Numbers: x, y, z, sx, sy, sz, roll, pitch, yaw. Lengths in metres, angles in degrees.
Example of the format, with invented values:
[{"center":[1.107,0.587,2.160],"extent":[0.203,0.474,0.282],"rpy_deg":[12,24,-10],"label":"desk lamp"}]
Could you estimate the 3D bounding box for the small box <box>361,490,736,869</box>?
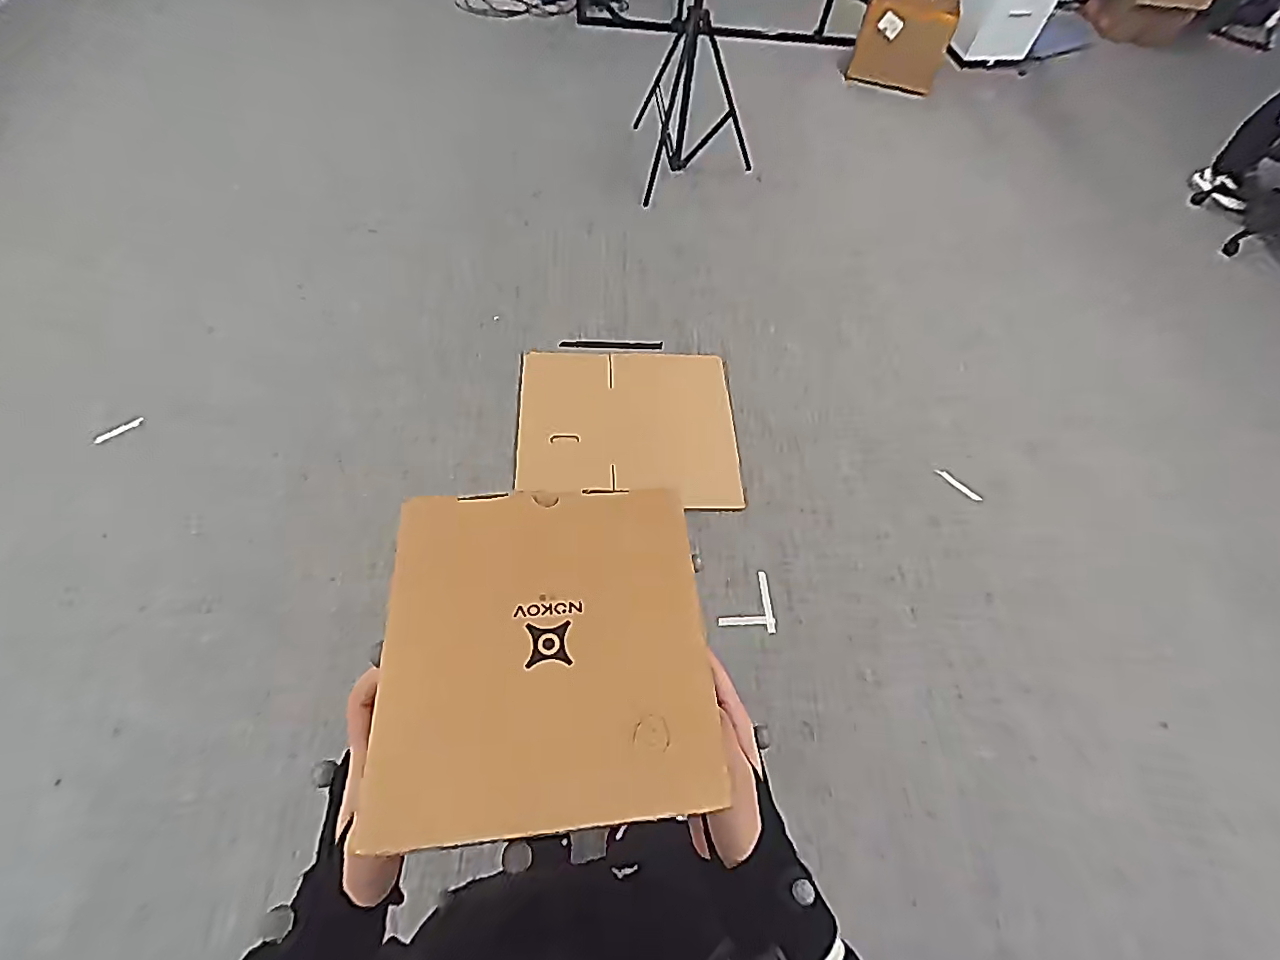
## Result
[{"center":[-0.051,0.126,0.343],"extent":[0.168,0.176,0.179],"rpy_deg":[-3,56,-8],"label":"small box"}]
